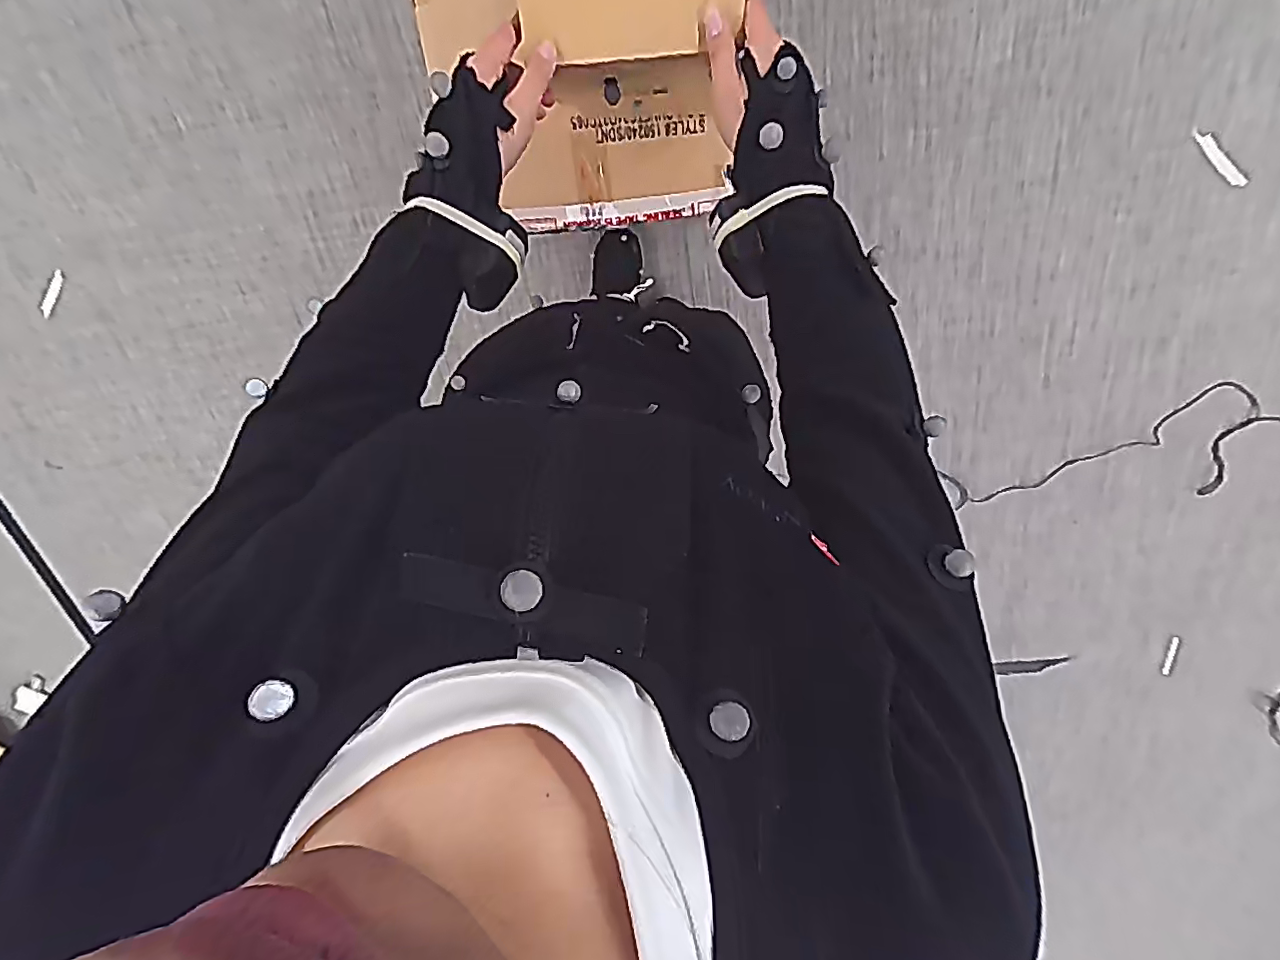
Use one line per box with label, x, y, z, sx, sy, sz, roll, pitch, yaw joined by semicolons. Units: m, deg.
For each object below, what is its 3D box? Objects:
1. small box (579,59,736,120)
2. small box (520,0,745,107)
small box;0.009;-0.500;0.585;0.179;0.176;0.168;-1;116;1
small box;-0.005;-0.423;0.441;0.168;0.176;0.179;-3;115;3
